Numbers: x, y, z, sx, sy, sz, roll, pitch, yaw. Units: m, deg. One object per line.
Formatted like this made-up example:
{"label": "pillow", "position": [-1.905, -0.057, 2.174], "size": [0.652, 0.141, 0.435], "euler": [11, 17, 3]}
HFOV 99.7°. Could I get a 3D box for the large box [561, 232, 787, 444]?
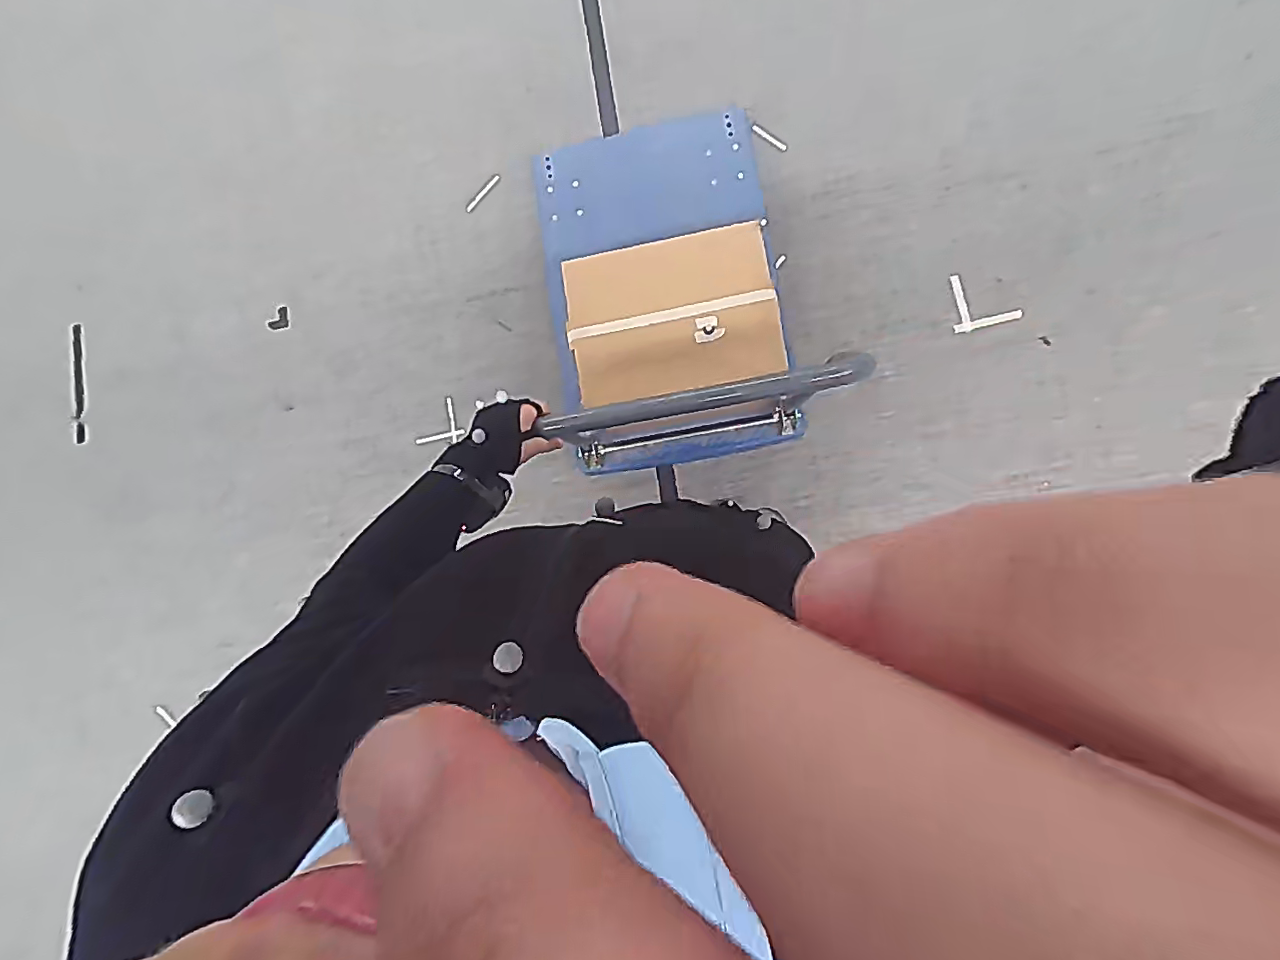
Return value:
{"label": "large box", "position": [0.073, -0.284, 1.198], "size": [0.408, 0.320, 0.320], "euler": [-10, 85, 5]}
